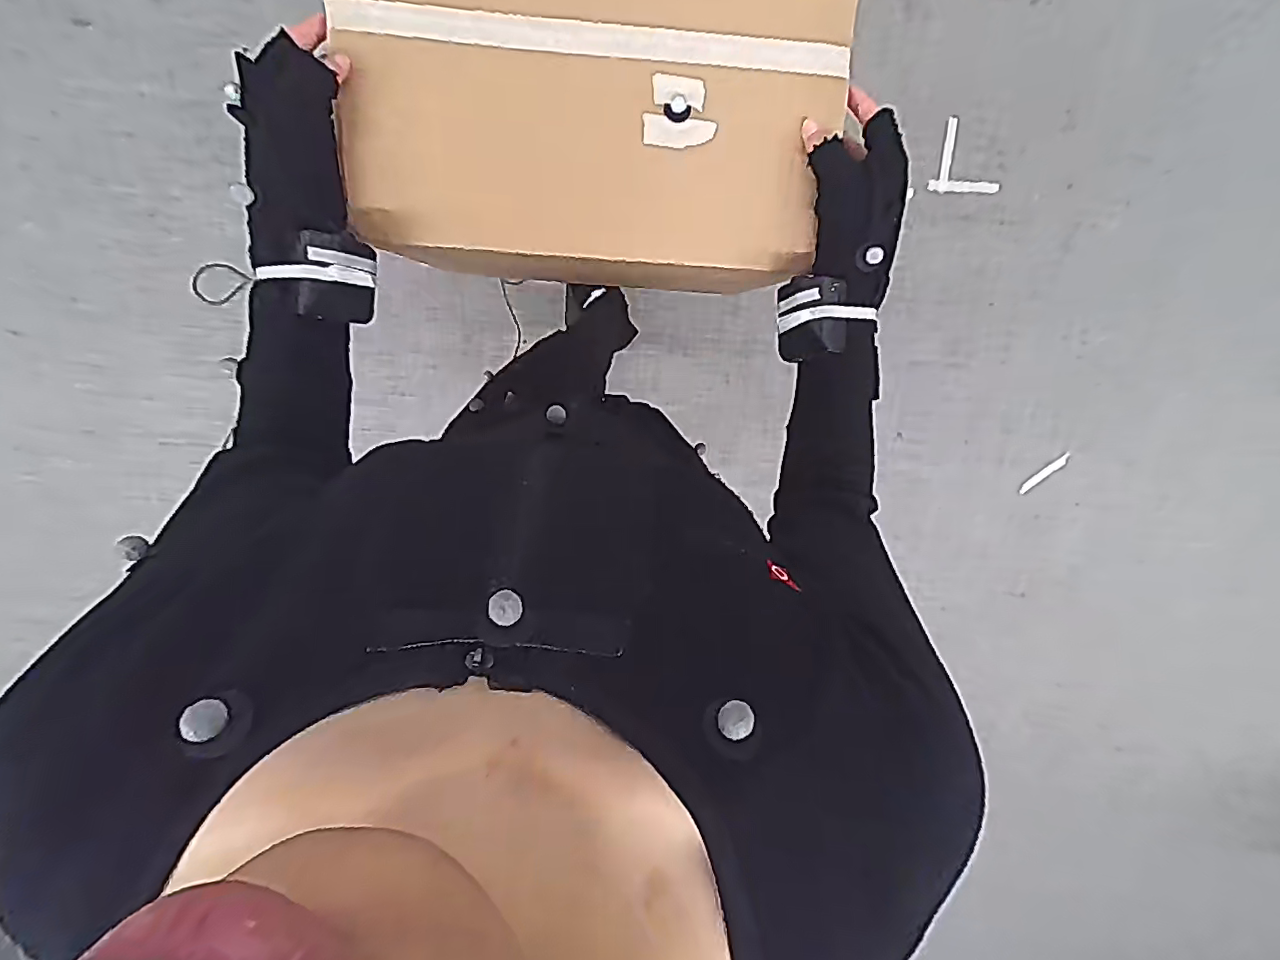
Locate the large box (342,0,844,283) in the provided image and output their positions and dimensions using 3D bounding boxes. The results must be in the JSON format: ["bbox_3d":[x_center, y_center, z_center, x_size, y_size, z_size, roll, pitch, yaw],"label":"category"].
[{"bbox_3d":[-0.045,-0.393,0.576,0.408,0.320,0.320,2,106,-4],"label":"large box"}]
